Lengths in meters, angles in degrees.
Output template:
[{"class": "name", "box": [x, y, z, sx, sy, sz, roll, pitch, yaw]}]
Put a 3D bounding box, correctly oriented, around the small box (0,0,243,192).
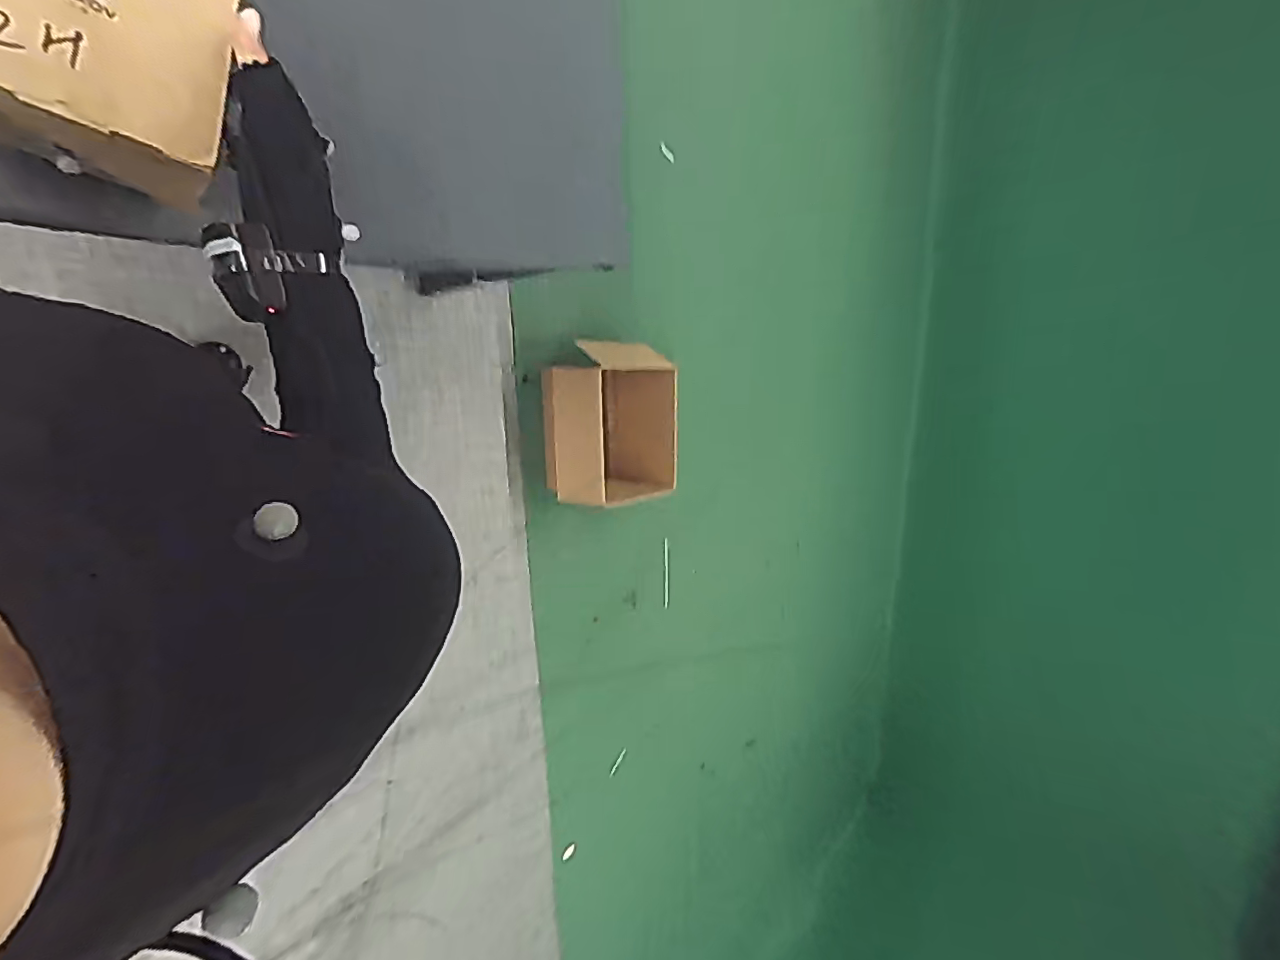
[{"class": "small box", "box": [-0.427, -0.354, 0.414, 0.168, 0.176, 0.179, 9, 96, -46]}]
